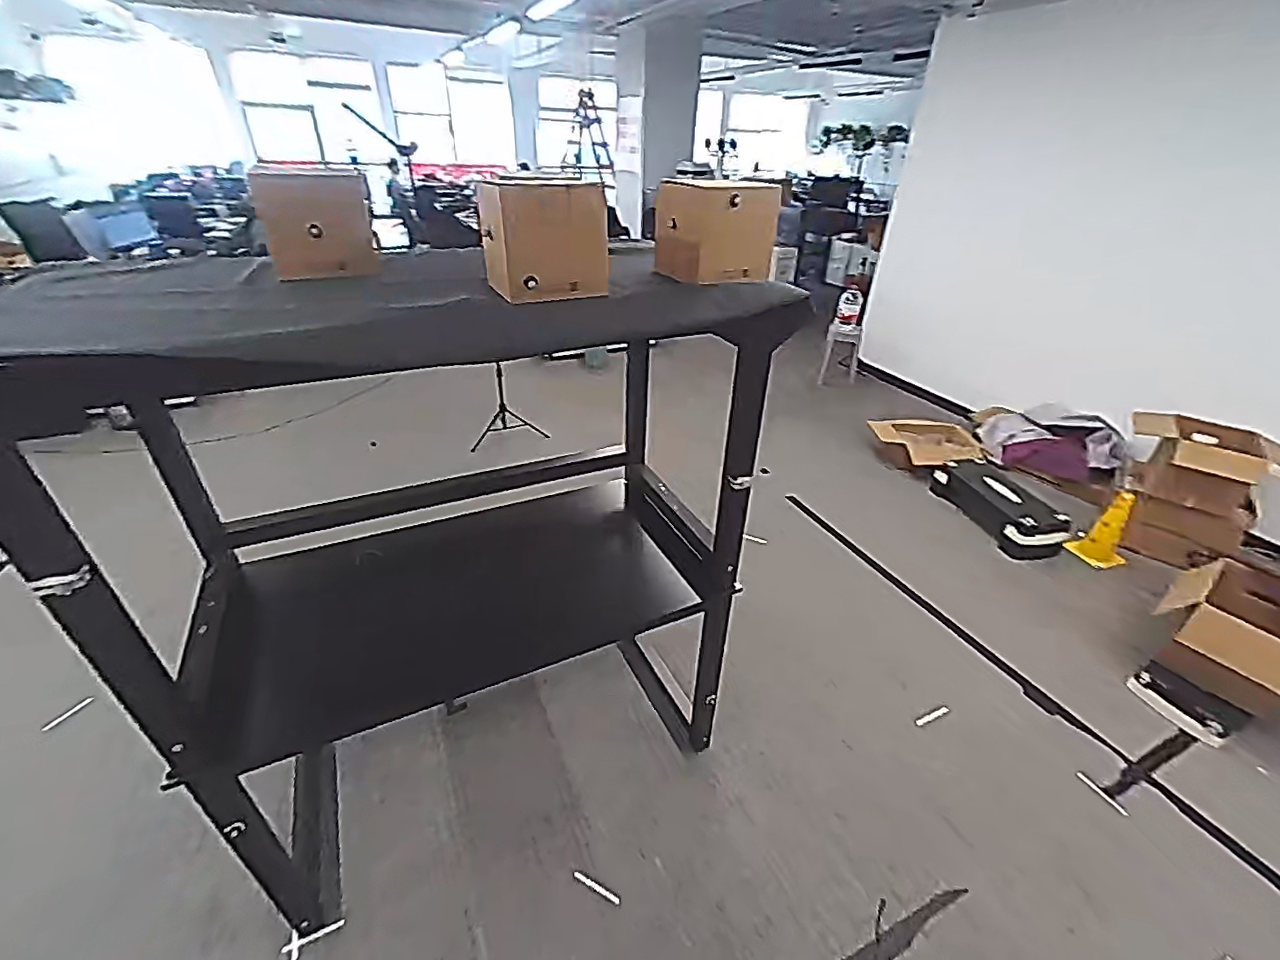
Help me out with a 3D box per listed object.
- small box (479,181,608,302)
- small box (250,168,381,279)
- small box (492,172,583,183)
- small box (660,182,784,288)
[{"bbox_3d":[-0.157,-0.396,0.896,0.168,0.176,0.179,-13,33,-22],"label":"small box"},{"bbox_3d":[-0.584,-0.469,0.990,0.168,0.176,0.179,-13,35,-23],"label":"small box"},{"bbox_3d":[-0.217,-0.557,1.158,0.168,0.176,0.179,-9,33,-19],"label":"small box"},{"bbox_3d":[0.146,-0.470,1.032,0.168,0.176,0.179,-14,34,-22],"label":"small box"}]
